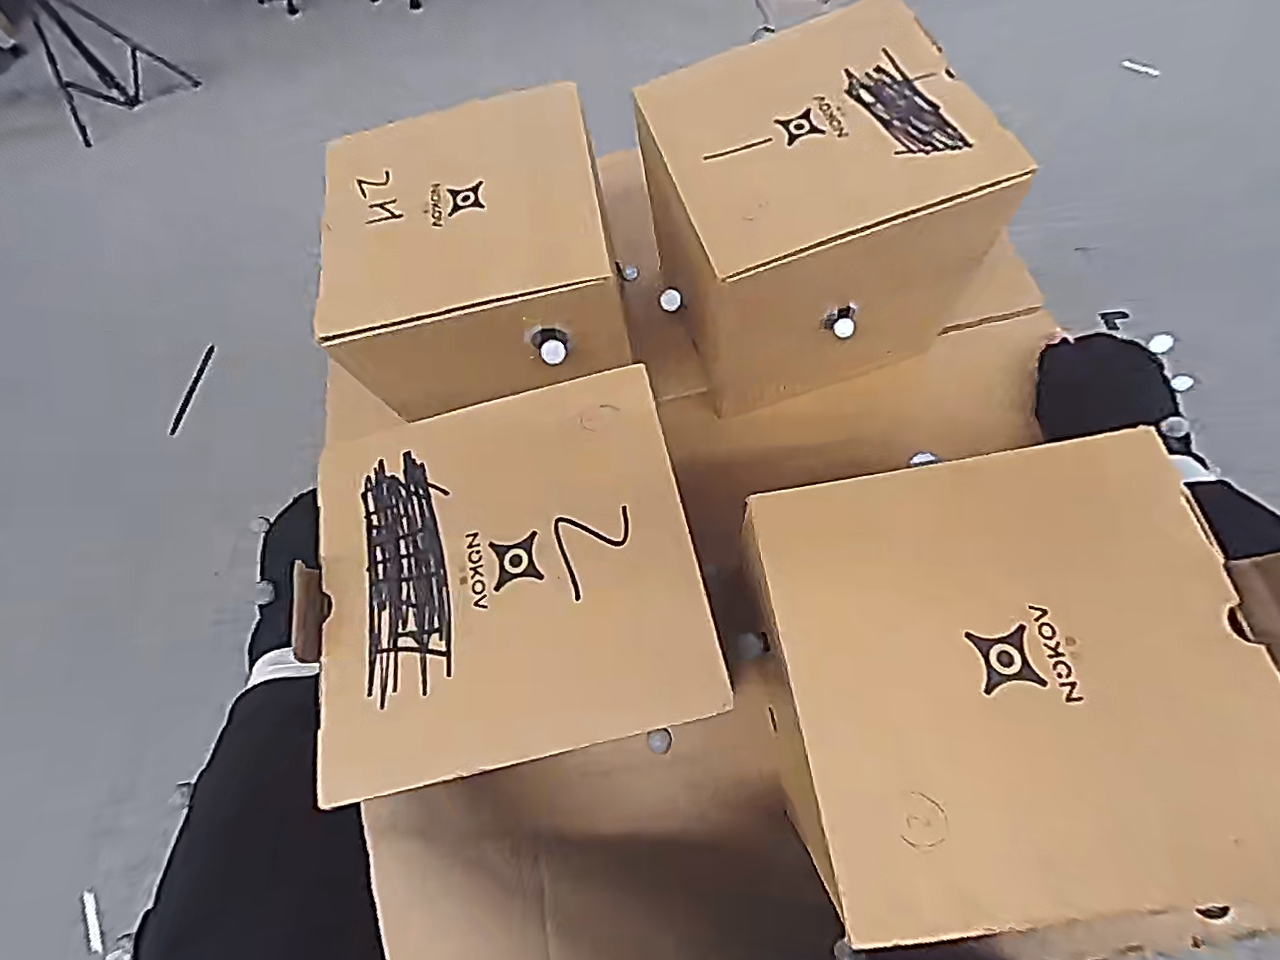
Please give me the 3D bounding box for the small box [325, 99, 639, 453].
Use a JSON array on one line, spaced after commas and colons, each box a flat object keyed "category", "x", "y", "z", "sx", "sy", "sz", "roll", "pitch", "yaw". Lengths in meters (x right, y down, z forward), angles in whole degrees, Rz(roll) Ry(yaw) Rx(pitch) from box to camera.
[{"category": "small box", "x": -0.101, "y": -0.137, "z": 0.414, "sx": 0.179, "sy": 0.176, "sz": 0.168, "roll": -11, "pitch": 68, "yaw": 5}]
